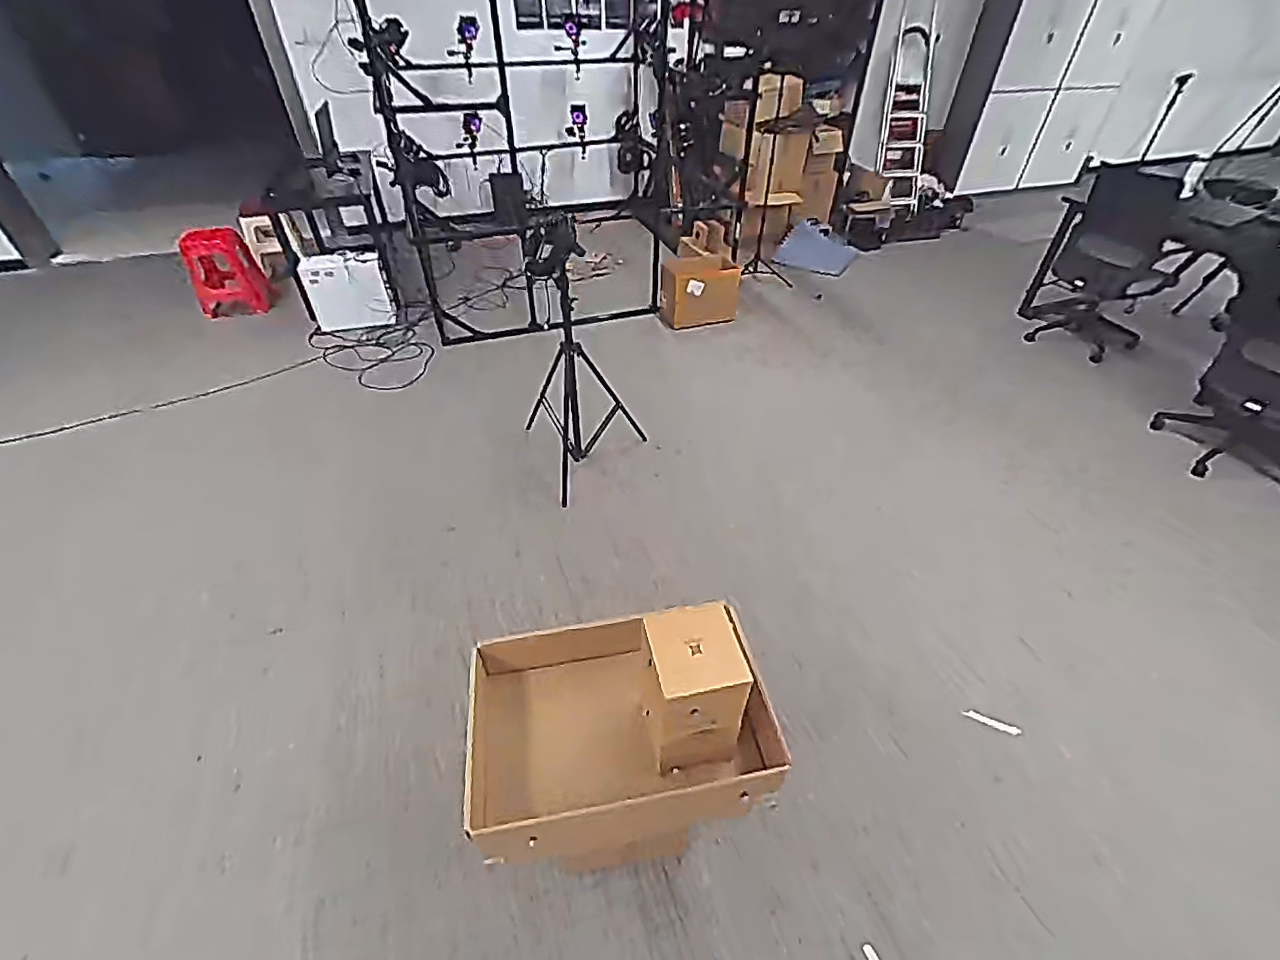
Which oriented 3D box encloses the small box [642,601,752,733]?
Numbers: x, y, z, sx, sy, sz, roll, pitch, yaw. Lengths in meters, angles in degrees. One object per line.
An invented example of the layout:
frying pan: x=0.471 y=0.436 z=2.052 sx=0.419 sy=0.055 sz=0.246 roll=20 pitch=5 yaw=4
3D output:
small box: x=0.102 y=0.367 z=1.047 sx=0.168 sy=0.176 sz=0.179 roll=-9 pitch=41 yaw=-10

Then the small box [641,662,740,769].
small box: x=0.101 y=0.490 z=1.153 sx=0.168 sy=0.176 sz=0.179 roll=-9 pitch=41 yaw=-10
